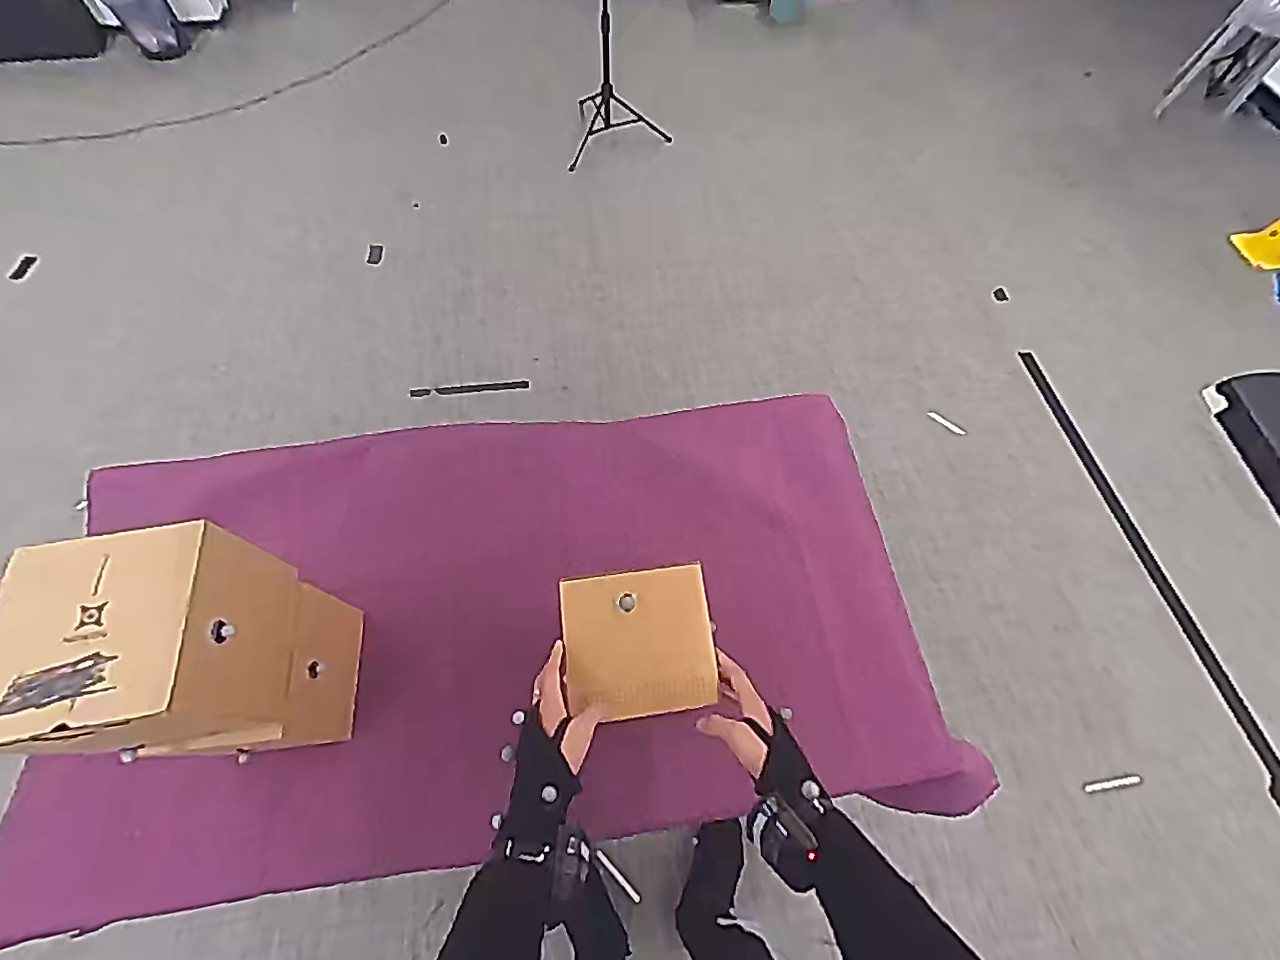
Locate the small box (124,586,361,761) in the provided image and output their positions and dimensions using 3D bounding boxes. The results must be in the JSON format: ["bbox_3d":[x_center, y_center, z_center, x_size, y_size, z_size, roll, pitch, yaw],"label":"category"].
[{"bbox_3d":[-0.476,0.246,0.682,0.168,0.176,0.179,-5,64,-5],"label":"small box"}]

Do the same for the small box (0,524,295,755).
[{"bbox_3d":[-0.476,0.164,0.539,0.168,0.176,0.179,-9,64,-6],"label":"small box"}]

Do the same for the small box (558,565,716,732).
[{"bbox_3d":[-0.005,0.217,0.702,0.179,0.168,0.176,-7,70,-5],"label":"small box"}]
